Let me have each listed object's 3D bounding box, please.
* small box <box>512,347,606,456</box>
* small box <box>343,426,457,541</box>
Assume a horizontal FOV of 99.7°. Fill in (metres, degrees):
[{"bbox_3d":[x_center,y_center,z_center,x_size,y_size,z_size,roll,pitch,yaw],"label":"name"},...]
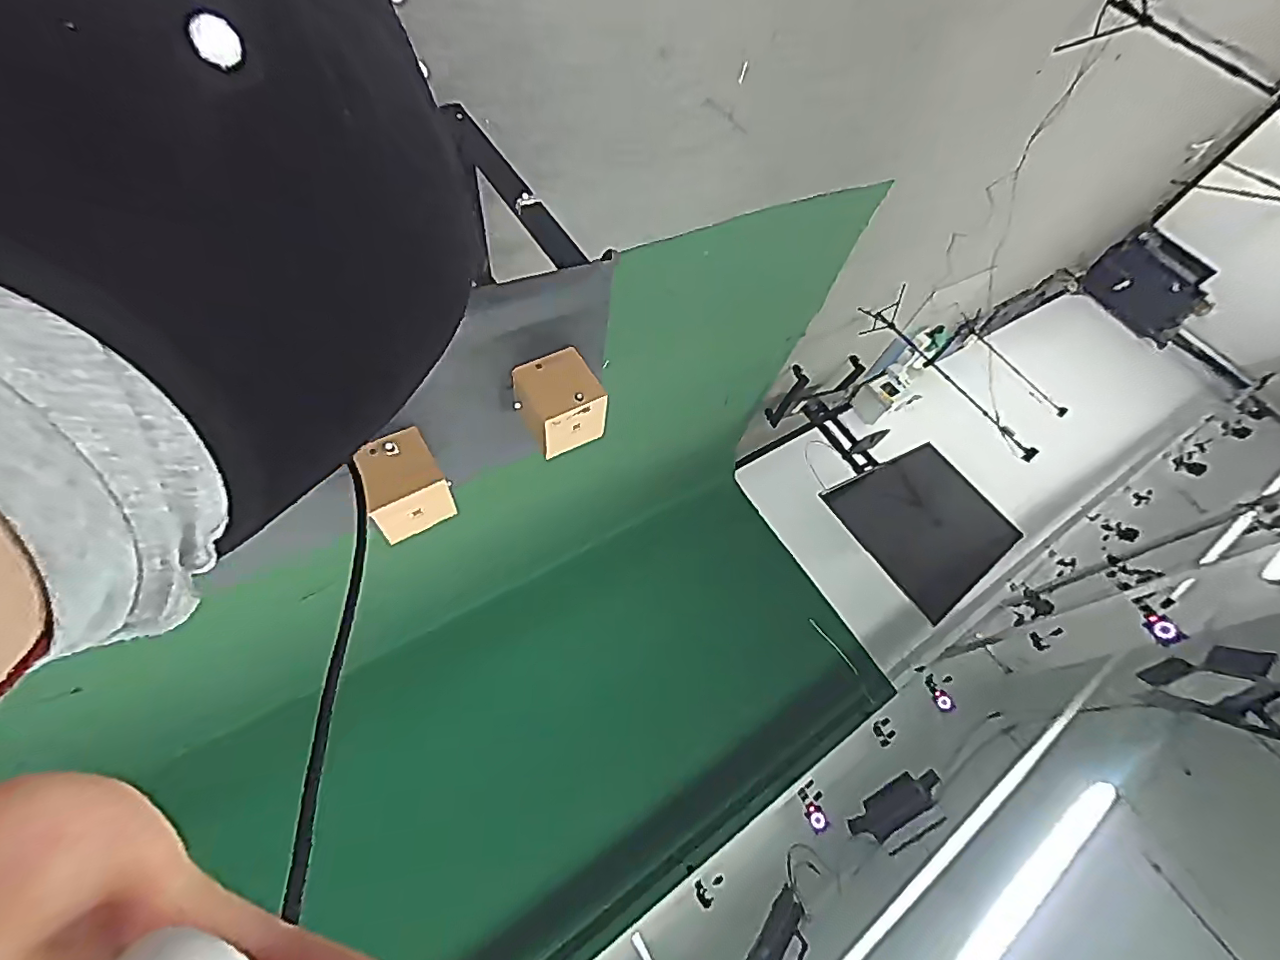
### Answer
[{"bbox_3d":[-0.203,-0.194,1.333,0.168,0.176,0.179,-28,161,-21],"label":"small box"},{"bbox_3d":[-0.546,0.007,1.243,0.168,0.176,0.179,-29,159,-21],"label":"small box"}]
